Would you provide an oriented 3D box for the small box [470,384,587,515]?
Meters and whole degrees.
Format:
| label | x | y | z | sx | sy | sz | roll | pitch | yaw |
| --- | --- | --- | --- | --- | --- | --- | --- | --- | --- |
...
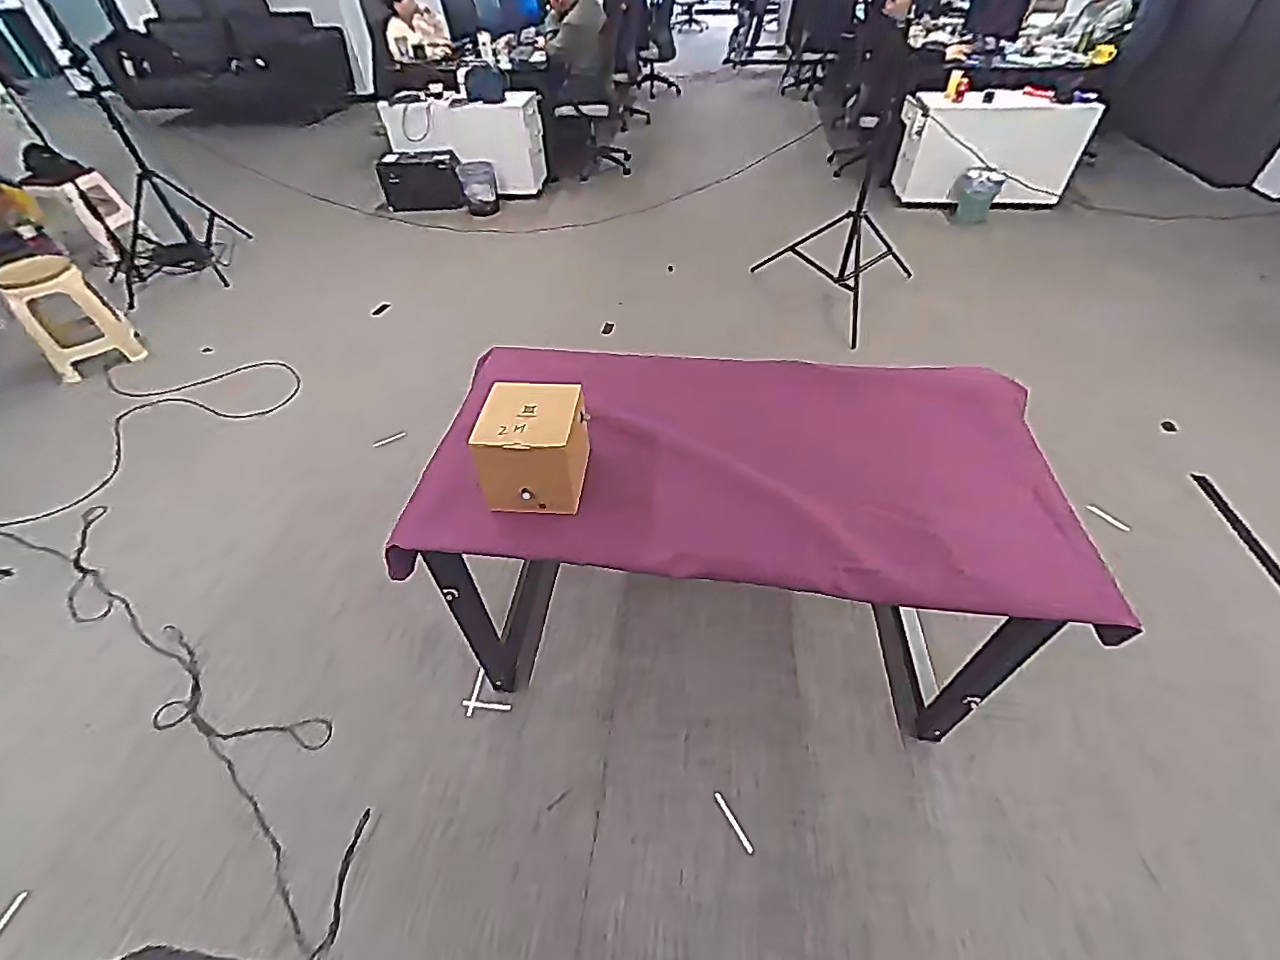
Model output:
| label | x | y | z | sx | sy | sz | roll | pitch | yaw |
| --- | --- | --- | --- | --- | --- | --- | --- | --- | --- |
| small box | -0.195 | -0.057 | 1.005 | 0.168 | 0.176 | 0.179 | 2 | 46 | 4 |
